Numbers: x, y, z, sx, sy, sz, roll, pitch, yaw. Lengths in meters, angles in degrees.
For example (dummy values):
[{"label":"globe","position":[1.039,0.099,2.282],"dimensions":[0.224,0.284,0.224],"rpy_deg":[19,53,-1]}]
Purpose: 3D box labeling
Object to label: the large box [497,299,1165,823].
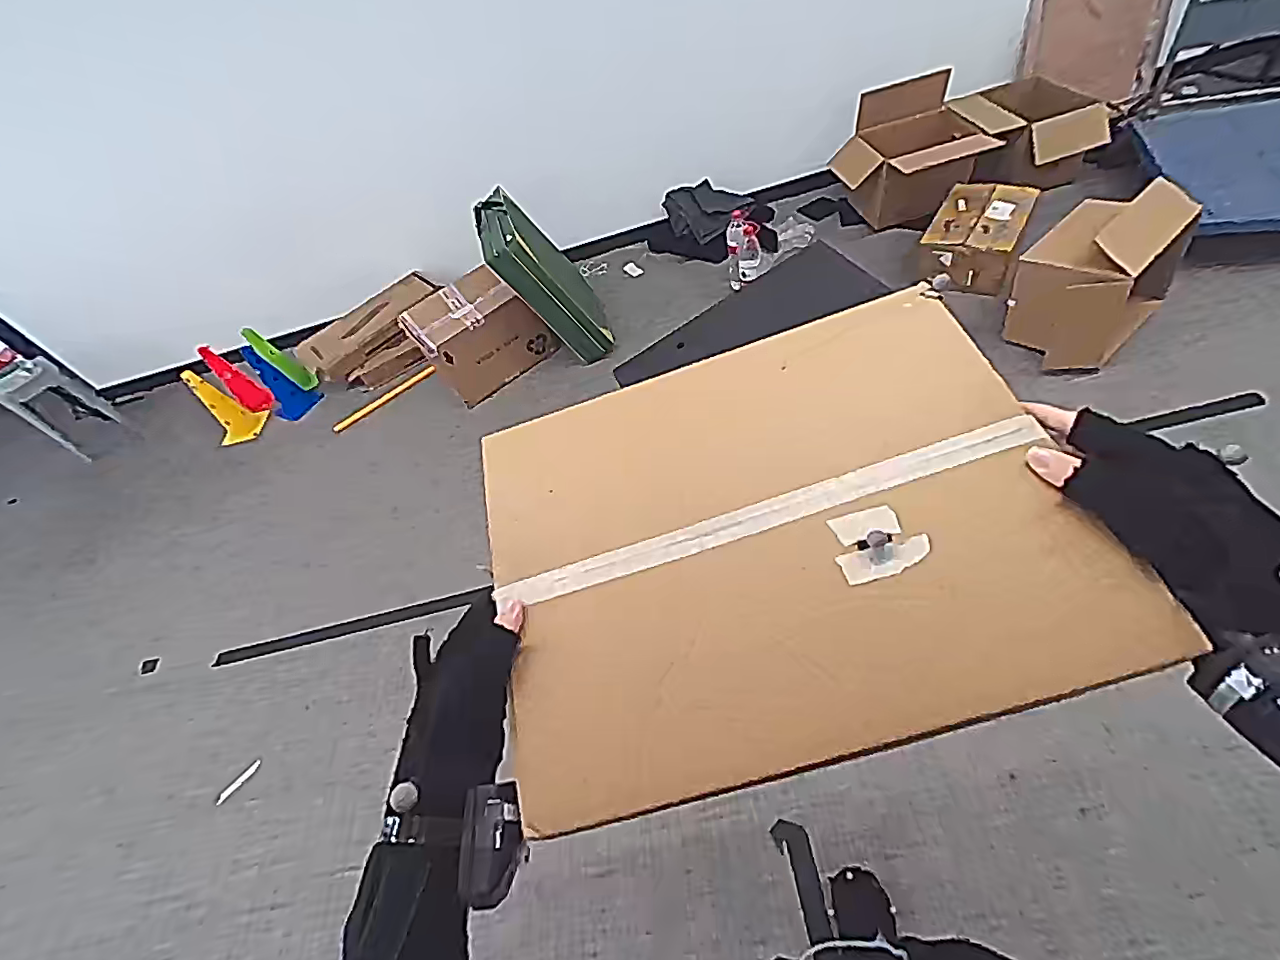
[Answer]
[{"label":"large box","position":[0.122,0.100,0.534],"dimensions":[0.408,0.320,0.320],"rpy_deg":[-19,60,4]}]
